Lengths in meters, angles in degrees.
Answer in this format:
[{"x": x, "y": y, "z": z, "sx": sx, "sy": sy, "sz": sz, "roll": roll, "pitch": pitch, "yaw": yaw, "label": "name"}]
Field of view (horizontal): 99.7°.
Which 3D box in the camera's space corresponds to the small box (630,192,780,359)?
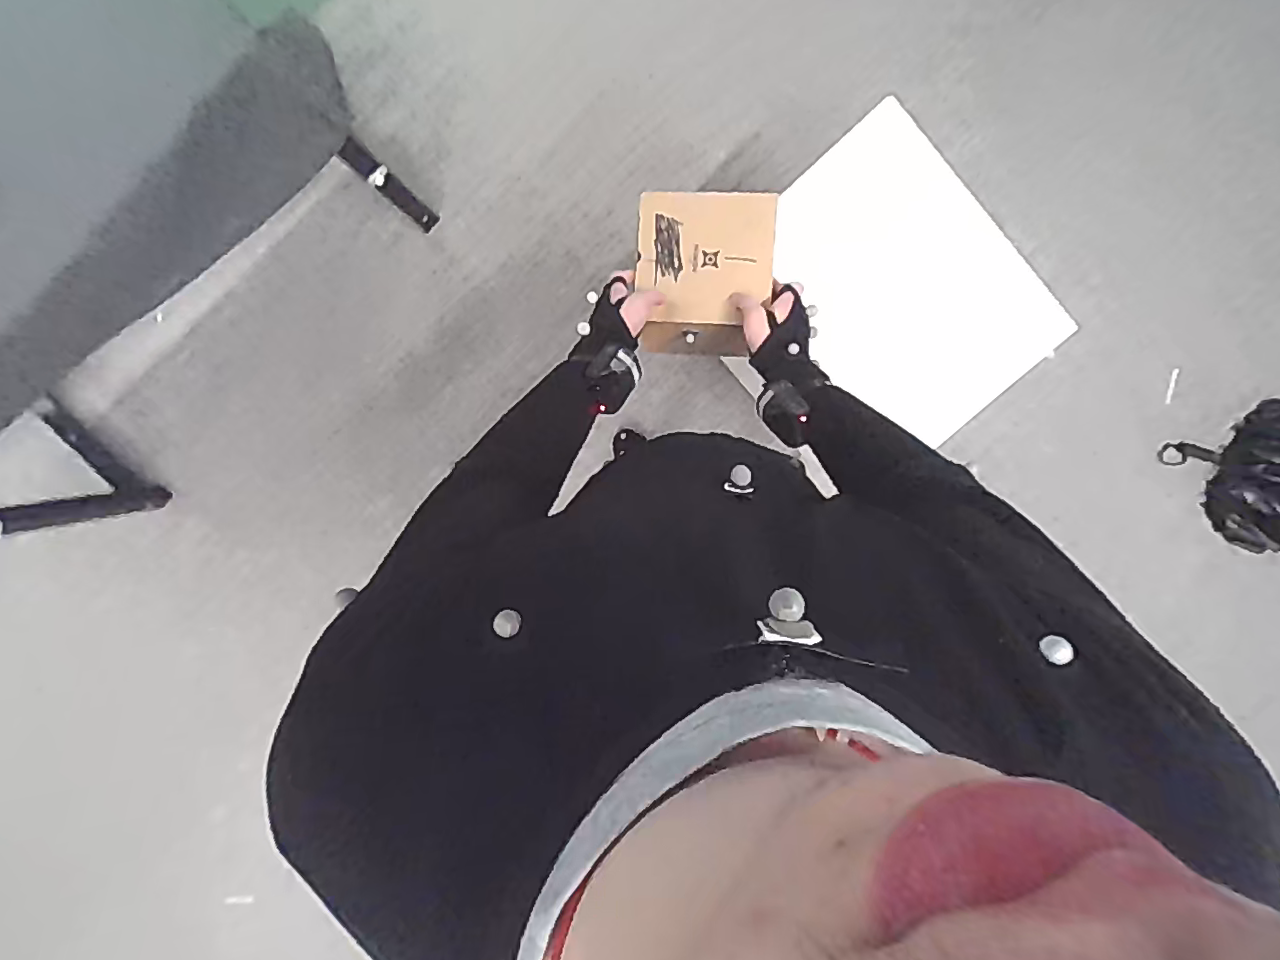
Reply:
[{"x": 0.085, "y": -0.265, "z": 0.733, "sx": 0.179, "sy": 0.176, "sz": 0.168, "roll": 2, "pitch": 89, "yaw": 4, "label": "small box"}]
